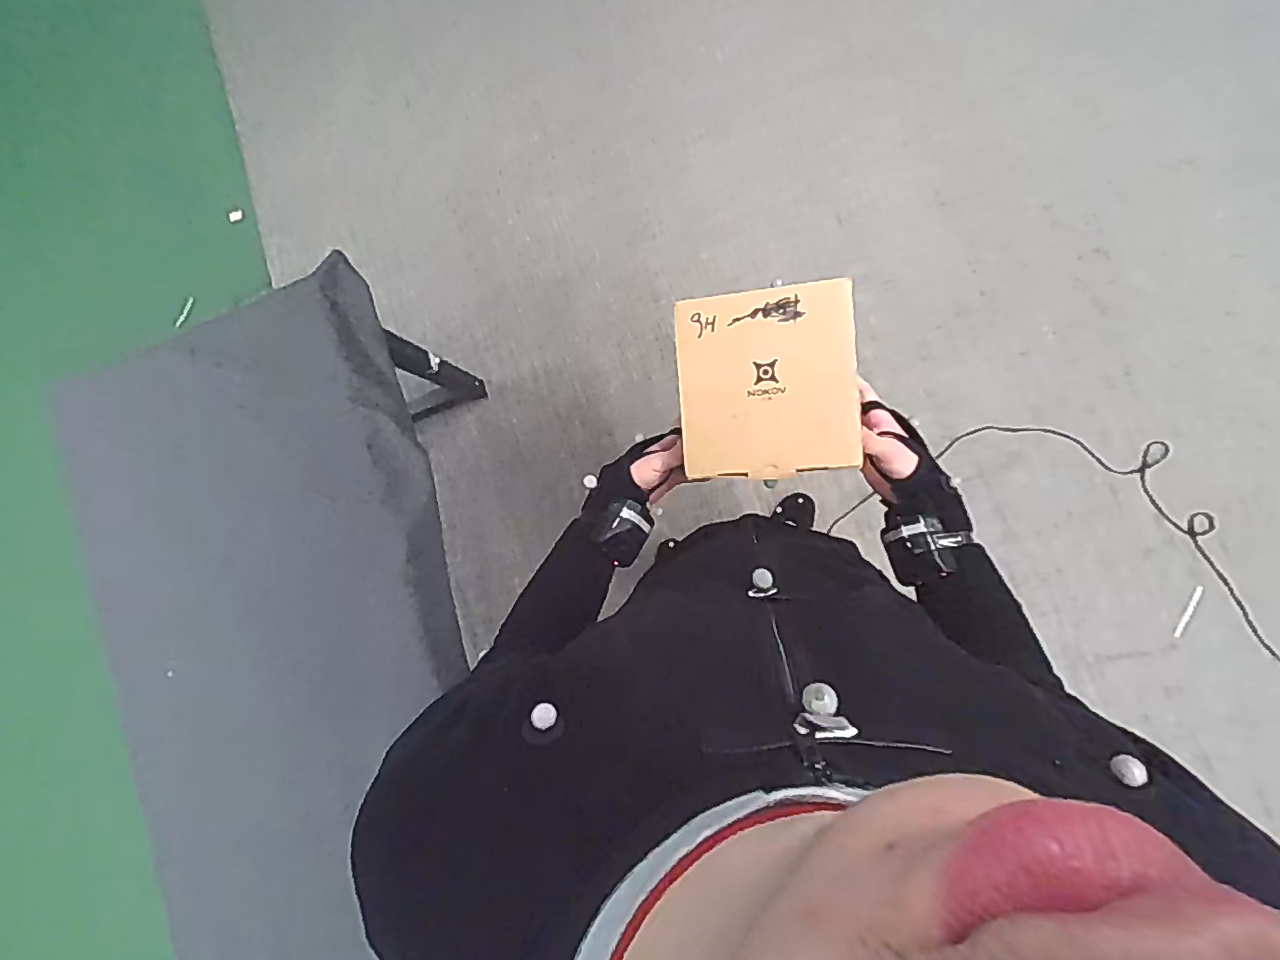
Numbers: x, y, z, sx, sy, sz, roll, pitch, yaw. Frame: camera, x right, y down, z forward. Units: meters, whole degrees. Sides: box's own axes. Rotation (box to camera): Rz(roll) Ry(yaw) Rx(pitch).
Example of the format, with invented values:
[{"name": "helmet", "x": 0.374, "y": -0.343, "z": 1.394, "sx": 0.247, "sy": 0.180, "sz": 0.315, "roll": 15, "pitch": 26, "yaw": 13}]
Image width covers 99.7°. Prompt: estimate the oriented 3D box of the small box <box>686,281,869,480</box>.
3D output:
[{"name": "small box", "x": 0.144, "y": -0.094, "z": 0.584, "sx": 0.168, "sy": 0.176, "sz": 0.179, "roll": -3, "pitch": 91, "yaw": 12}]
